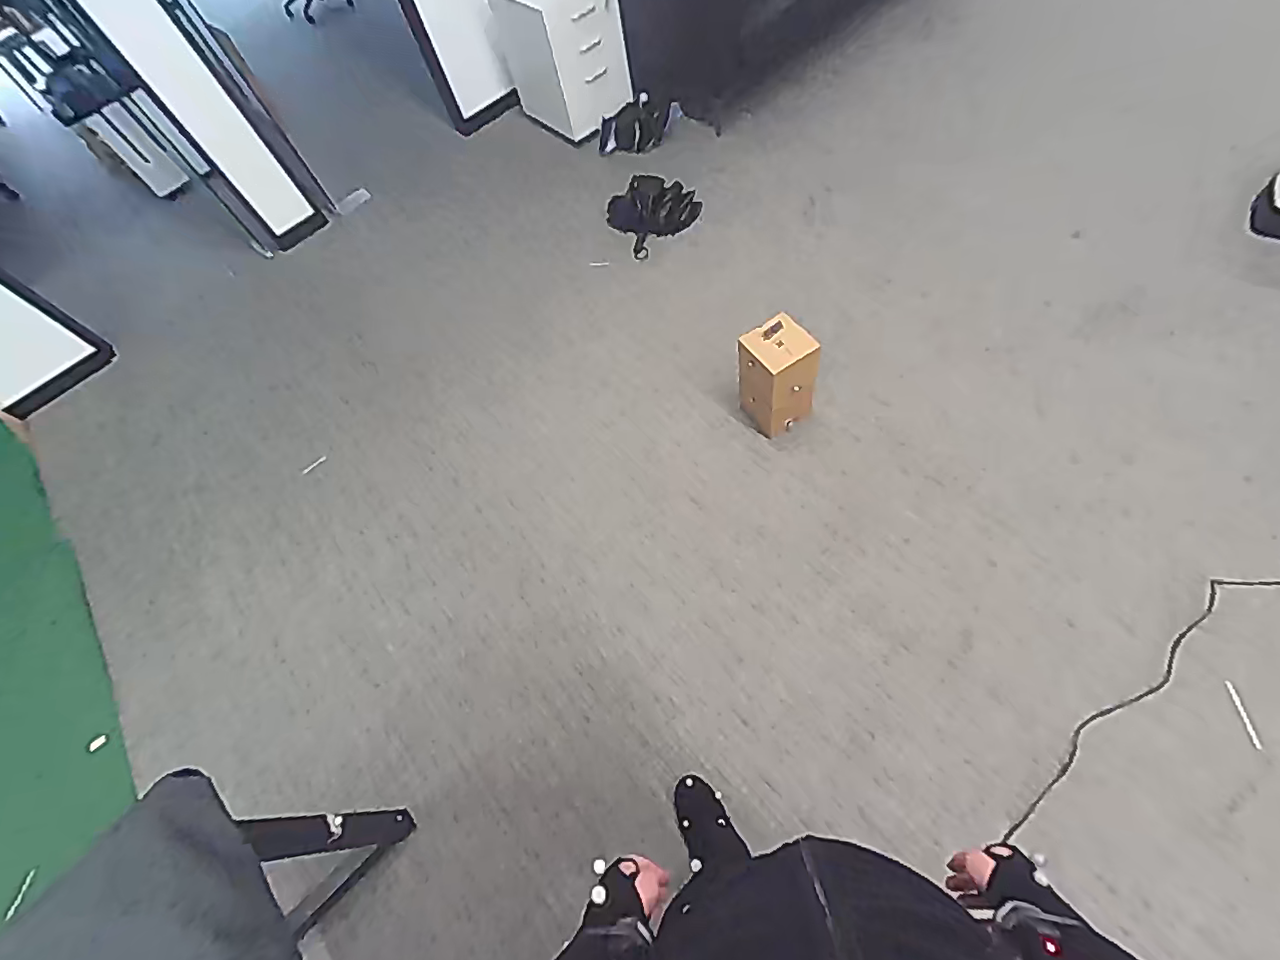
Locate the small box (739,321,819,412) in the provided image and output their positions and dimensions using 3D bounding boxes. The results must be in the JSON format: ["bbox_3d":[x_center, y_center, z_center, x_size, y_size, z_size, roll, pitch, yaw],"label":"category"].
[{"bbox_3d":[0.414,-0.340,1.637,0.168,0.176,0.179,-31,60,-6],"label":"small box"}]

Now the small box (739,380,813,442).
[{"bbox_3d":[0.440,-0.258,1.778,0.168,0.176,0.179,-32,61,-7],"label":"small box"}]
